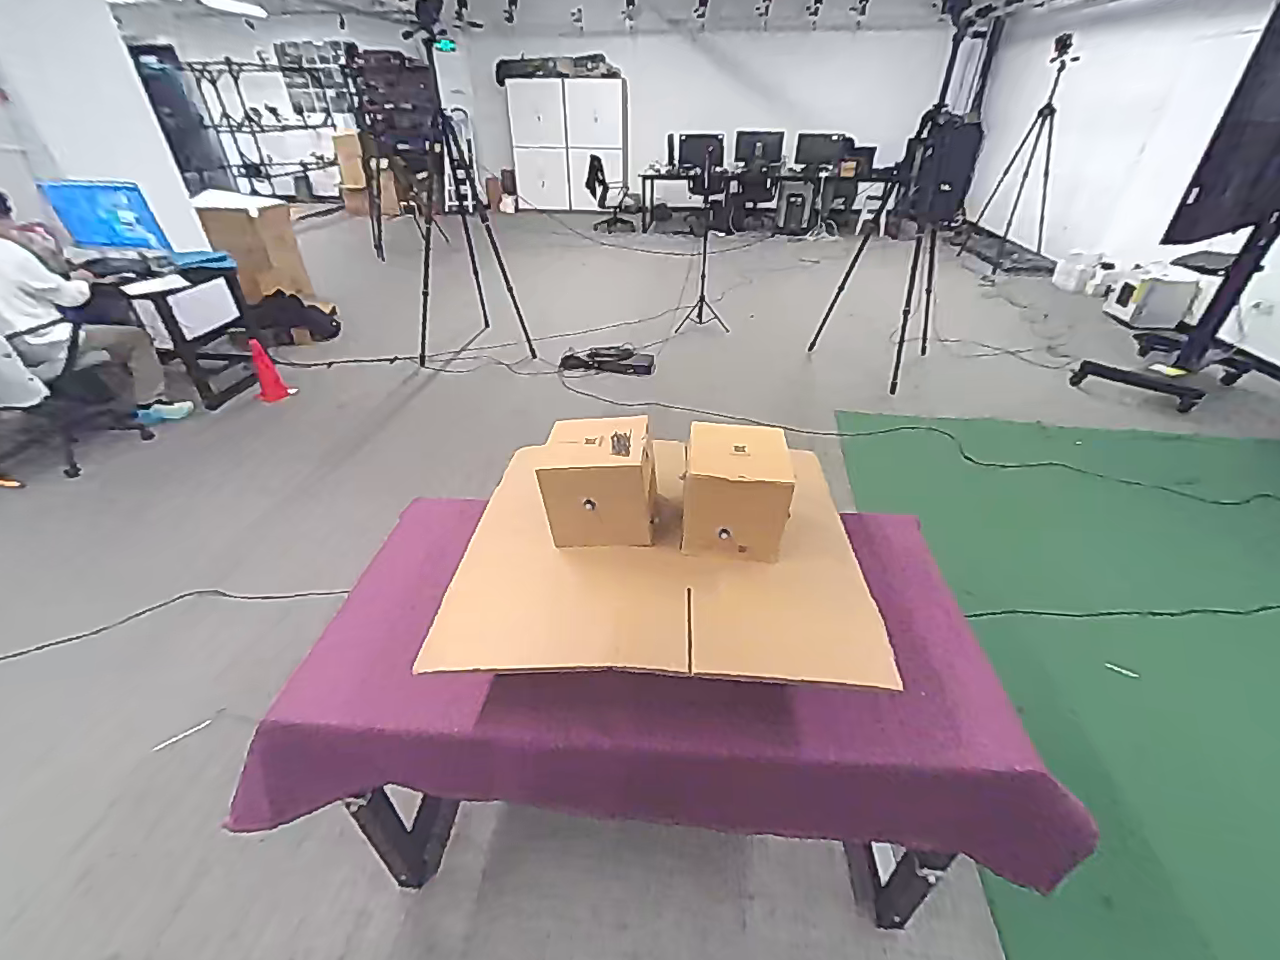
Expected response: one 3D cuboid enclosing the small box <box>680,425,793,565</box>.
[{"bbox_3d":[0.160,0.023,0.949,0.168,0.176,0.179,5,36,3],"label":"small box"}]
